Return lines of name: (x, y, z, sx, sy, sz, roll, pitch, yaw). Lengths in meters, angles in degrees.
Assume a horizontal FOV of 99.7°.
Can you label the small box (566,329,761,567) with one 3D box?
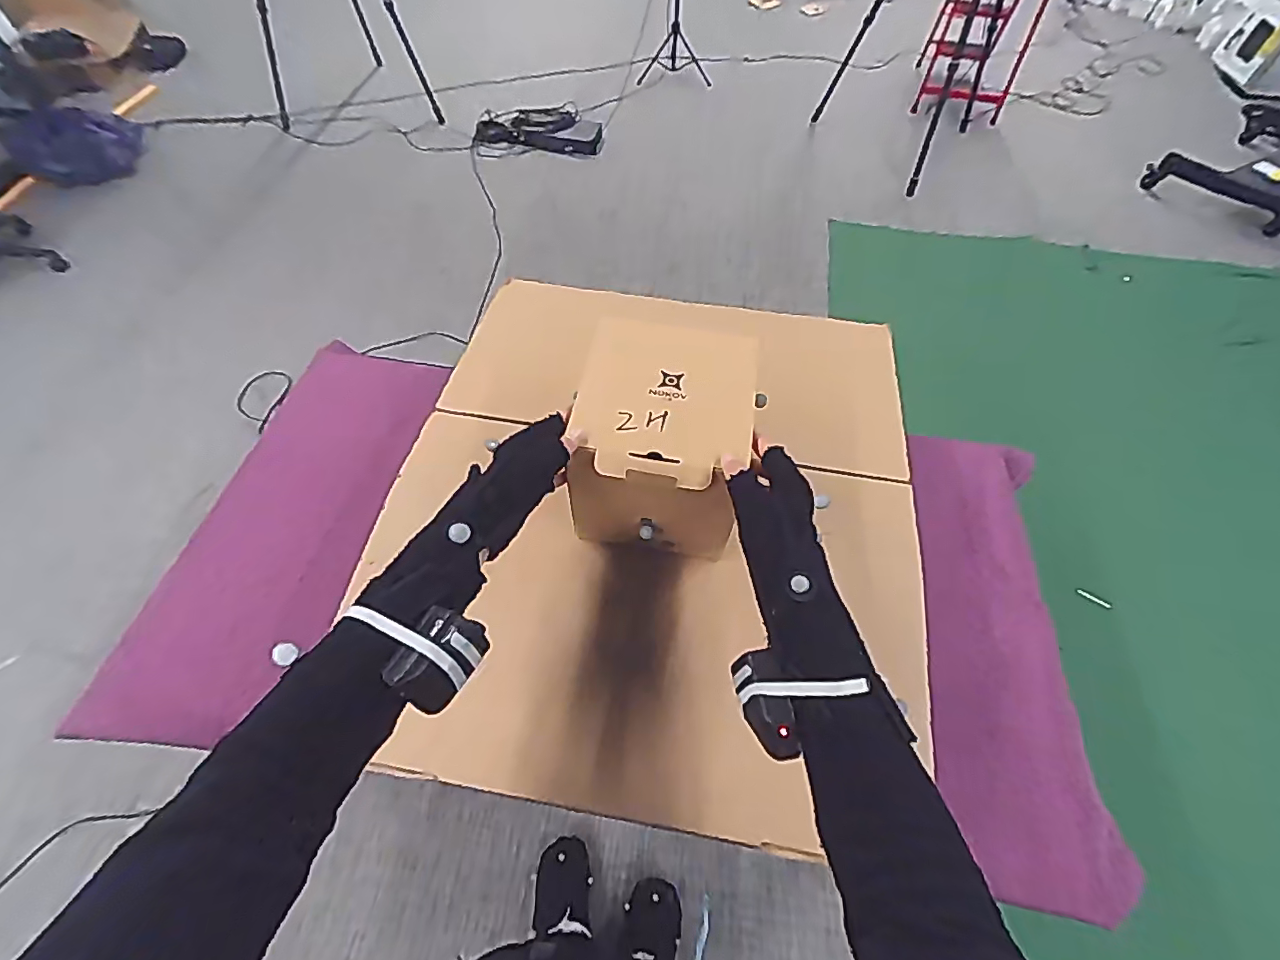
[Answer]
small box: (0.027, -0.031, 0.581, 0.168, 0.176, 0.179, 9, 55, 6)
